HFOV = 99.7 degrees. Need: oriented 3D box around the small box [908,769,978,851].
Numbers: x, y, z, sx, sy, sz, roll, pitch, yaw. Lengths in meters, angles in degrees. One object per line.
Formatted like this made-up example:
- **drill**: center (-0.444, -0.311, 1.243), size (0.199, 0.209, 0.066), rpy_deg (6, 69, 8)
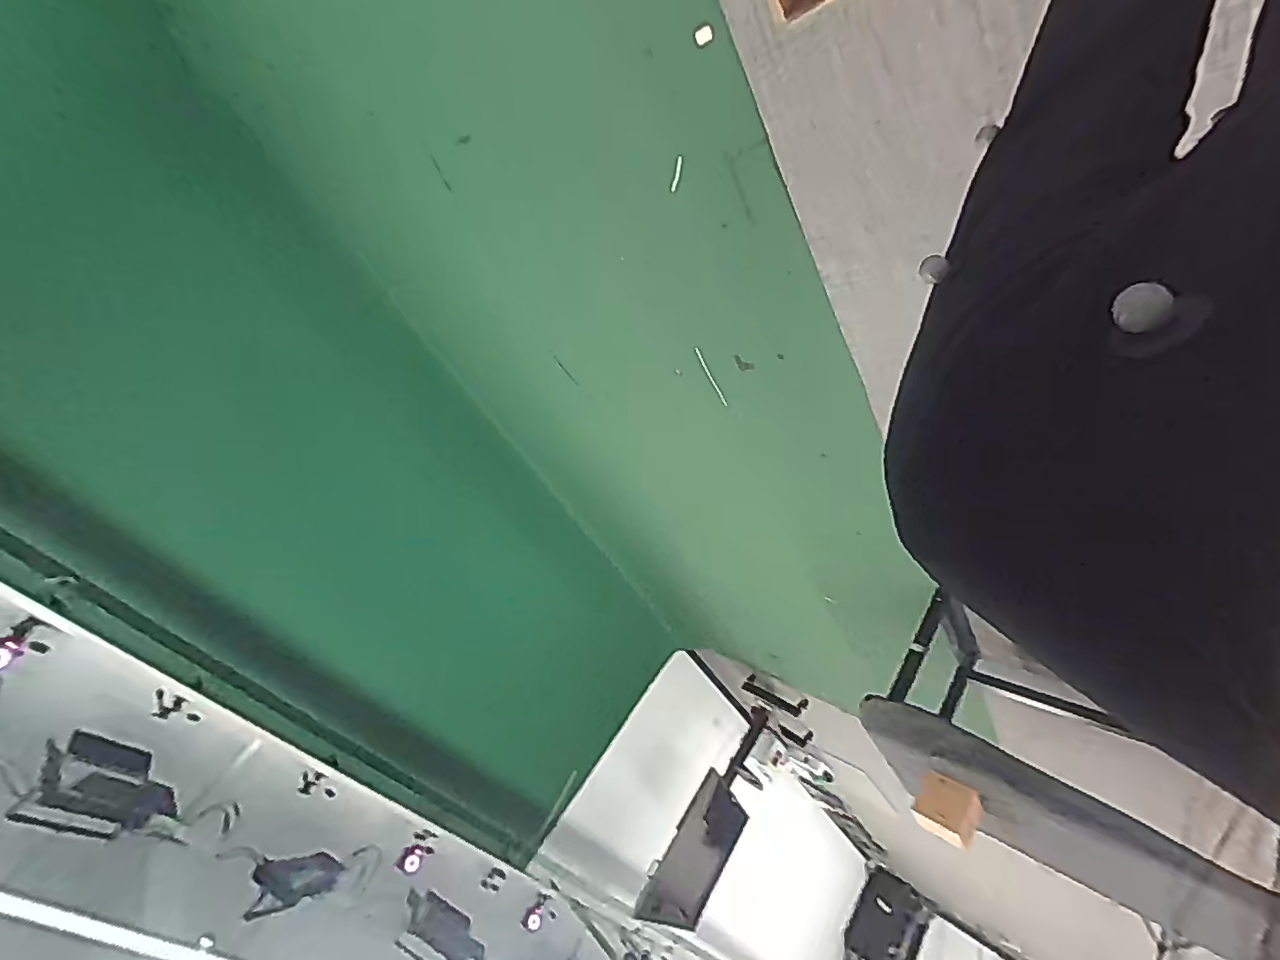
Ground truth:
- **small box**: center (1.108, 1.196, 1.967), size (0.168, 0.176, 0.179), rpy_deg (9, 143, 48)
